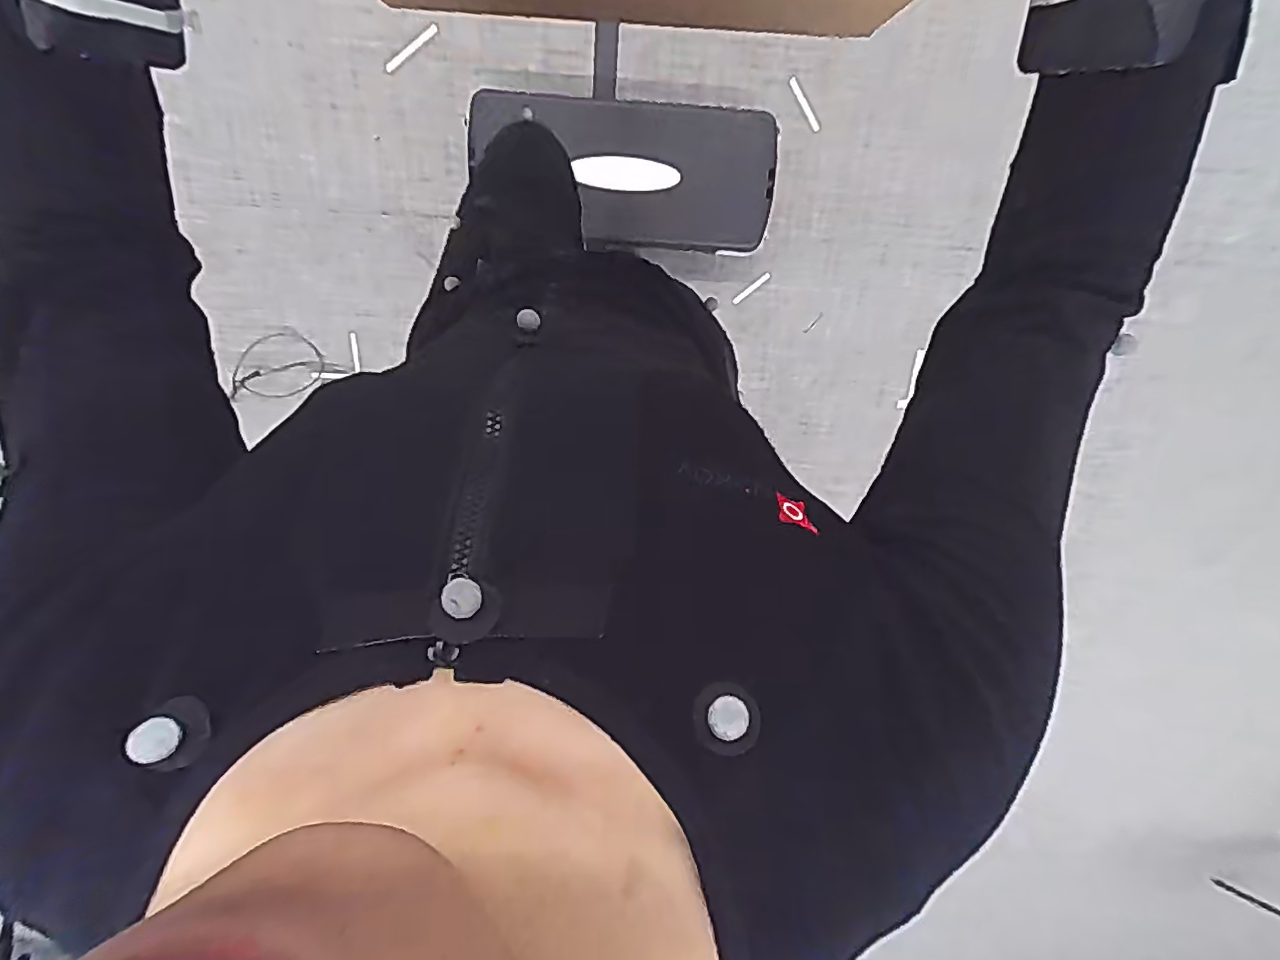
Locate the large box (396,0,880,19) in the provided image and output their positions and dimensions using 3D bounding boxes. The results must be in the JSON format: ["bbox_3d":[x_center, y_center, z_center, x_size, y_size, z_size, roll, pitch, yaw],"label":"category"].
[{"bbox_3d":[-0.006,-0.462,0.253,0.408,0.320,0.320,2,117,-1],"label":"large box"}]
